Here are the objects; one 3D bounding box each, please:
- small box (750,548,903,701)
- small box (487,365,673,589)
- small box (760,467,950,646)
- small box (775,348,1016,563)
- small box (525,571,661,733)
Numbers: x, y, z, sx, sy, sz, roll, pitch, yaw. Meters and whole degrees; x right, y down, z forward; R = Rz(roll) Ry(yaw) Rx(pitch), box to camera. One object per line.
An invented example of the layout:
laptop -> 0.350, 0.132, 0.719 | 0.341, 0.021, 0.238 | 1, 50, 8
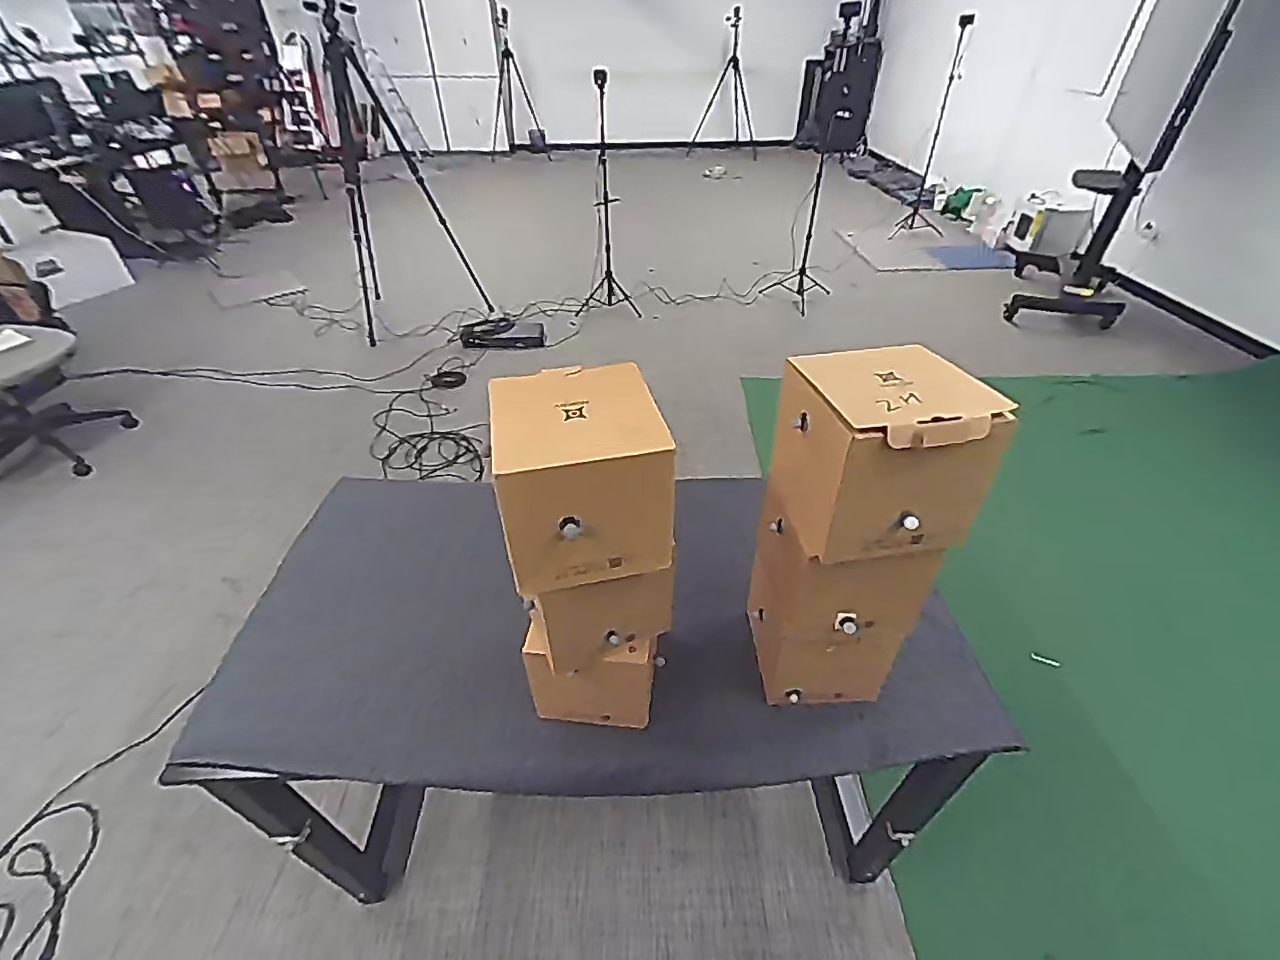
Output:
small box -> 0.268, 0.219, 0.823 | 0.168, 0.176, 0.179 | -2, 37, 0
small box -> -0.065, -0.001, 0.583 | 0.168, 0.176, 0.179 | -9, 40, -10
small box -> 0.265, 0.094, 0.720 | 0.168, 0.176, 0.179 | -5, 39, -3
small box -> 0.263, -0.031, 0.611 | 0.168, 0.176, 0.179 | -7, 38, -5
small box -> -0.060, 0.242, 0.803 | 0.168, 0.176, 0.179 | 4, 38, 6
